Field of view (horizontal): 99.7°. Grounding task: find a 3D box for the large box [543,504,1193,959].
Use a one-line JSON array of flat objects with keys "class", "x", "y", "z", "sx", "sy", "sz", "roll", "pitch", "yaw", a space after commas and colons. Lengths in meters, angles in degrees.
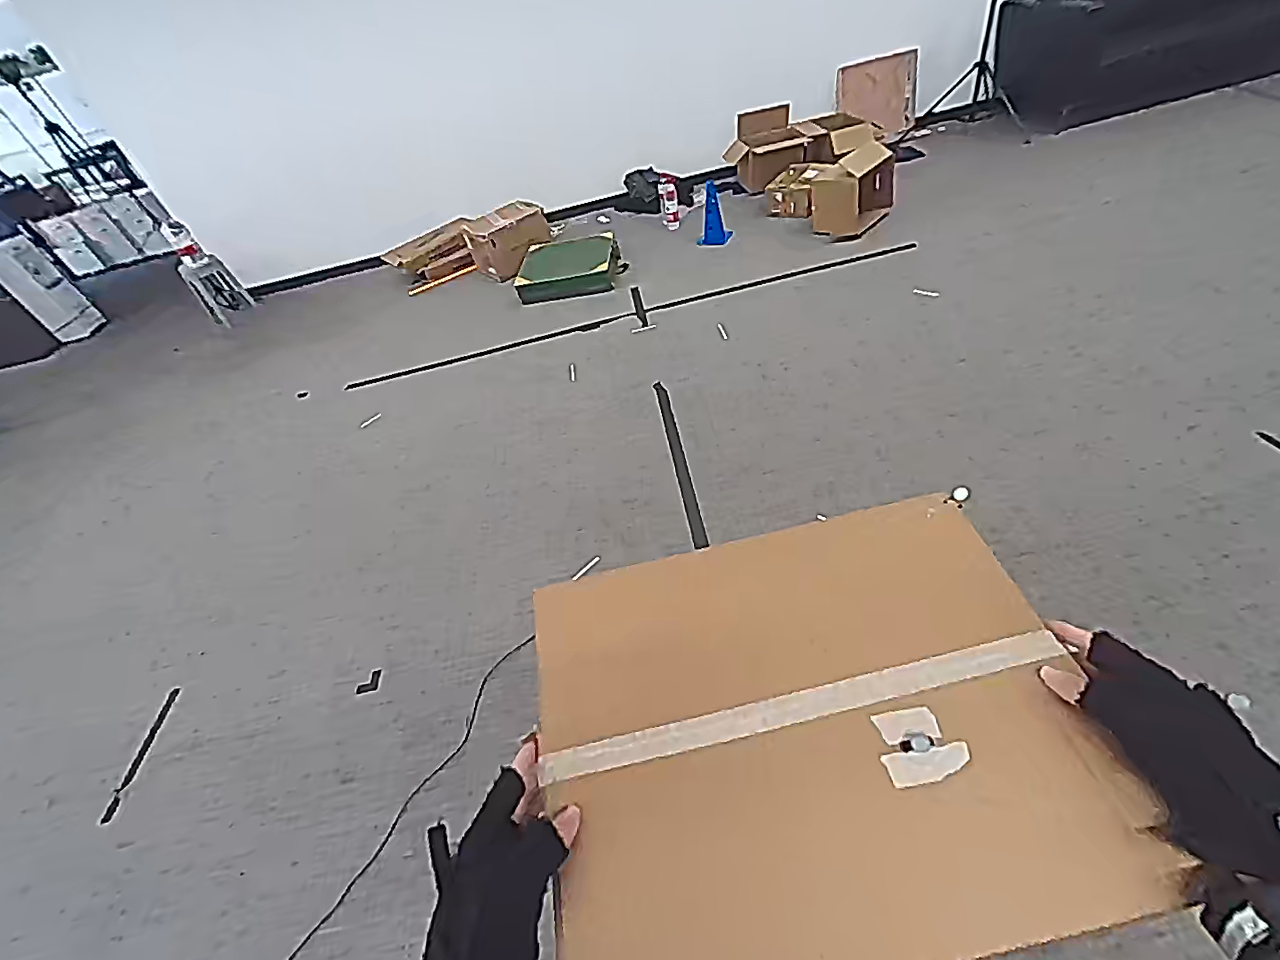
[{"class": "large box", "x": 0.147, "y": 0.277, "z": 0.541, "sx": 0.408, "sy": 0.320, "sz": 0.320, "roll": -14, "pitch": 50, "yaw": -1}]
